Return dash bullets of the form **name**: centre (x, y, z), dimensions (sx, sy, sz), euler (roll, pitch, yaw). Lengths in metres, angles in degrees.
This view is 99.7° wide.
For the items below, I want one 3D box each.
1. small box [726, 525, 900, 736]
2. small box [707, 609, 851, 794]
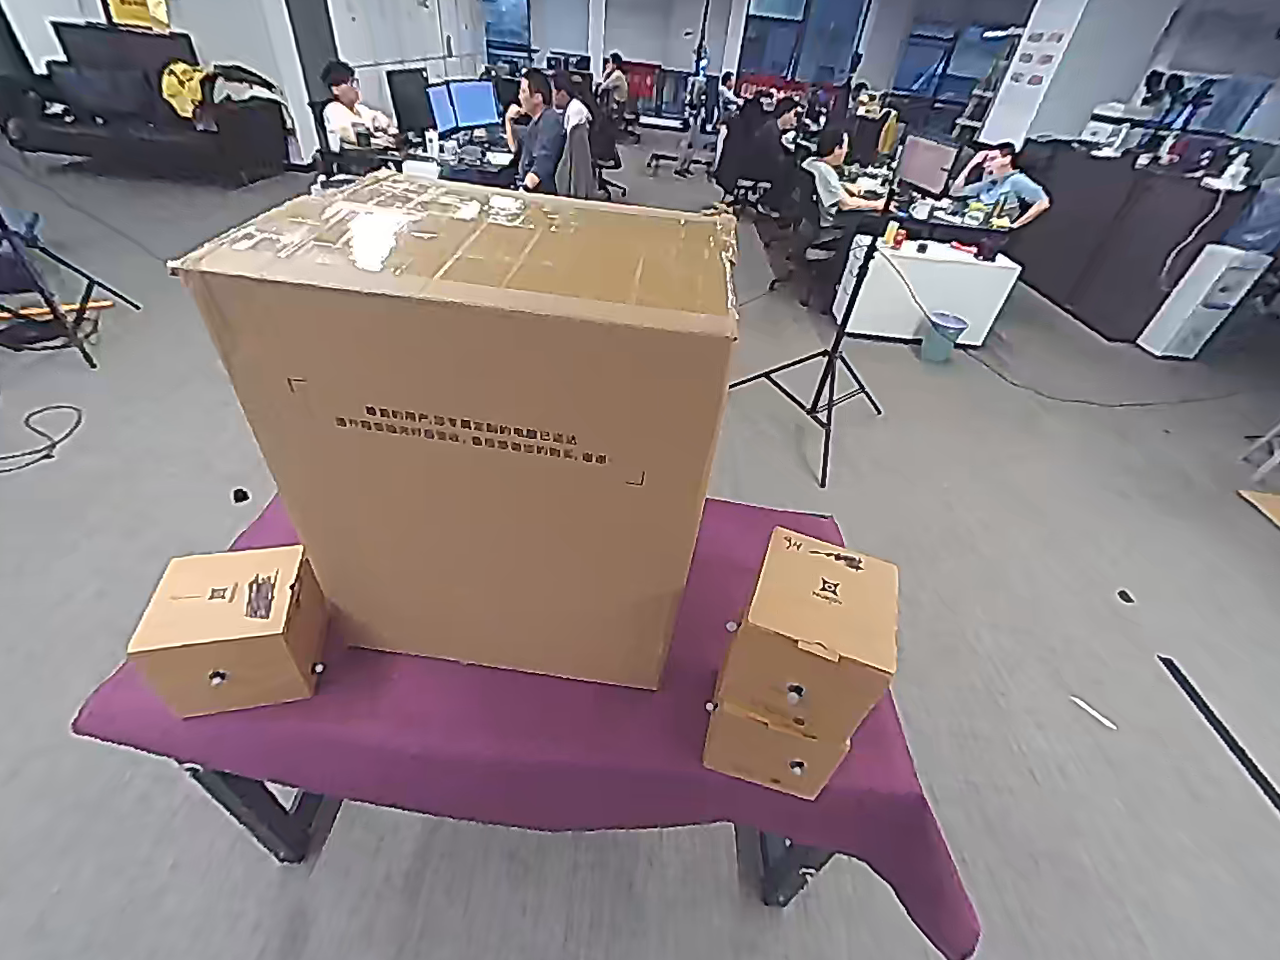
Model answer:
- **small box**: centre (0.219, 0.195, 0.704), dimensions (0.168, 0.176, 0.179), euler (19, 41, 13)
- **small box**: centre (0.201, 0.328, 0.802), dimensions (0.168, 0.176, 0.179), euler (14, 38, 8)
